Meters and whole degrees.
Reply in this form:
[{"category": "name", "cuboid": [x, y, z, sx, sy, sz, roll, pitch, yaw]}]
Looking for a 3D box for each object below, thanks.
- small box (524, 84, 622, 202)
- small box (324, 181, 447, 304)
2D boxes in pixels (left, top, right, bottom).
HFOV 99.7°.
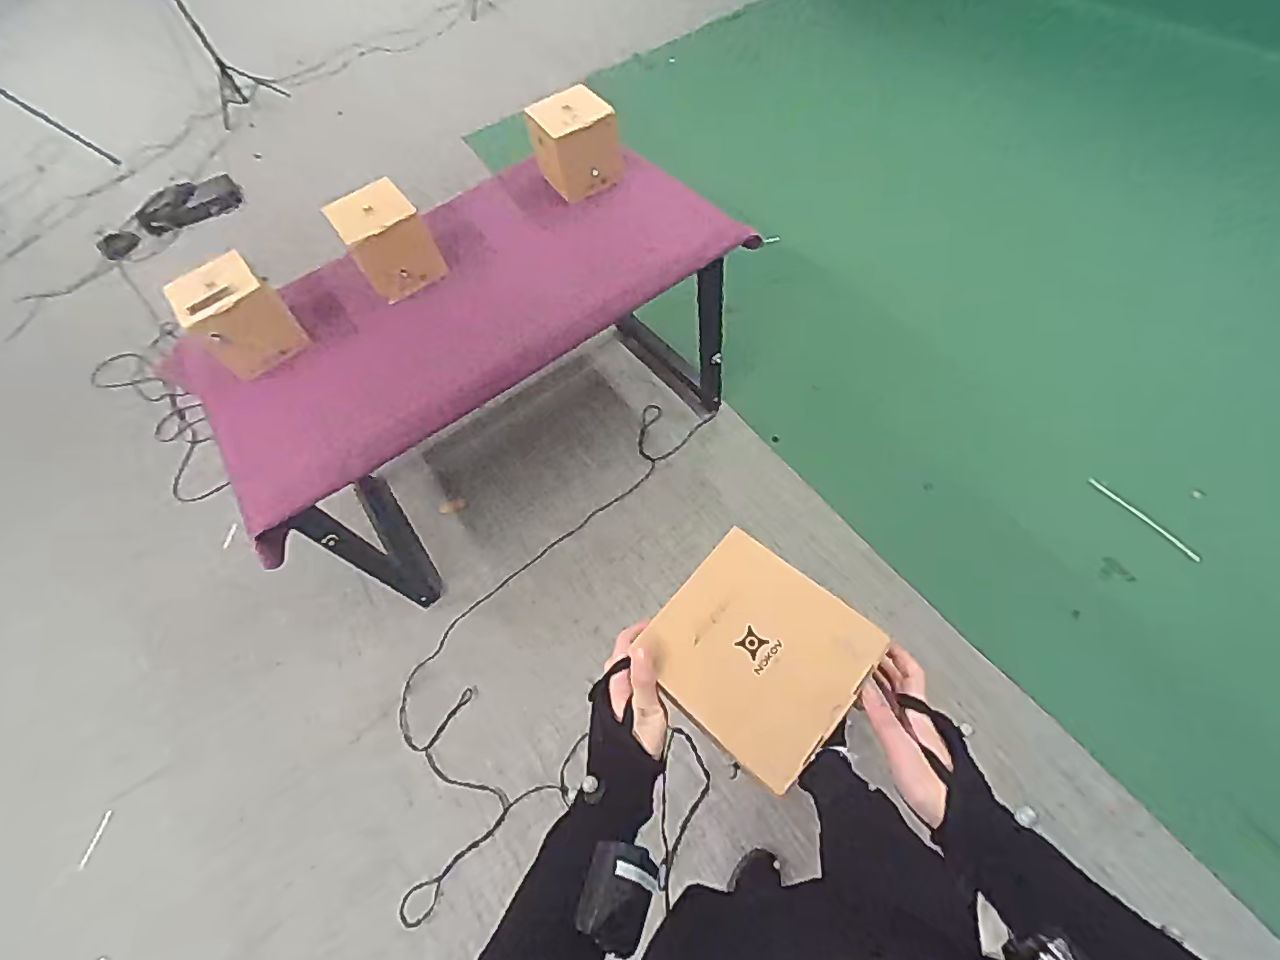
[{"category": "small box", "cuboid": [-0.162, -0.837, 1.351, 0.168, 0.176, 0.179, -31, 62, -8]}, {"category": "small box", "cuboid": [-0.583, -0.546, 1.254, 0.168, 0.176, 0.179, -36, 64, -12]}]
